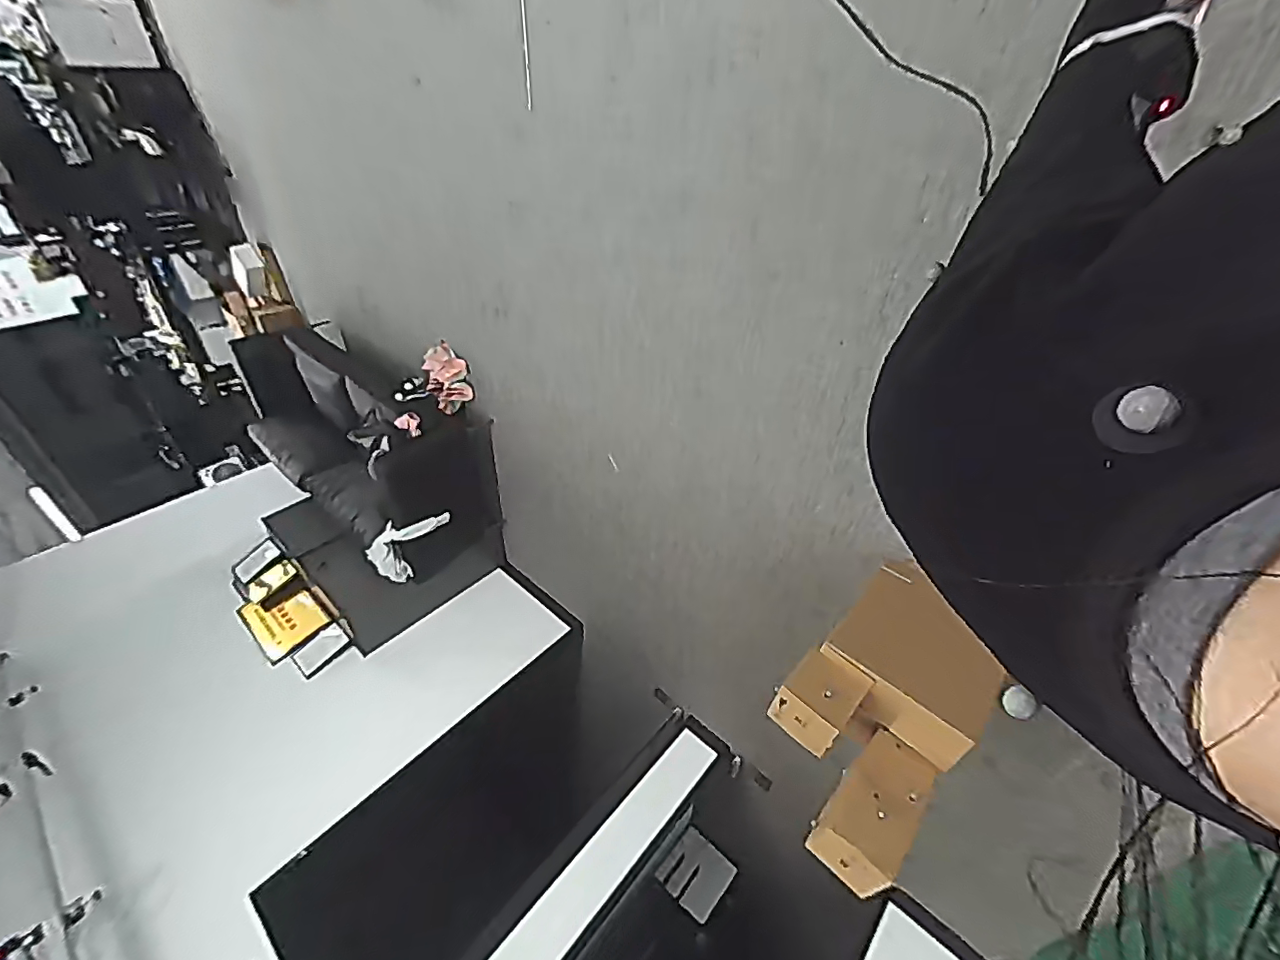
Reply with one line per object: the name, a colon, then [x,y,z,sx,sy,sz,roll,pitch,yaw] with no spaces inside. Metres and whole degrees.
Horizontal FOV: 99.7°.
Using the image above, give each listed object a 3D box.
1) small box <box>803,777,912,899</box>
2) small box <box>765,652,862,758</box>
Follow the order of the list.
small box: [0.544,0.888,1.350,0.168,0.176,0.179,36,137,24]
small box: [0.481,0.614,1.491,0.179,0.176,0.168,34,135,26]
